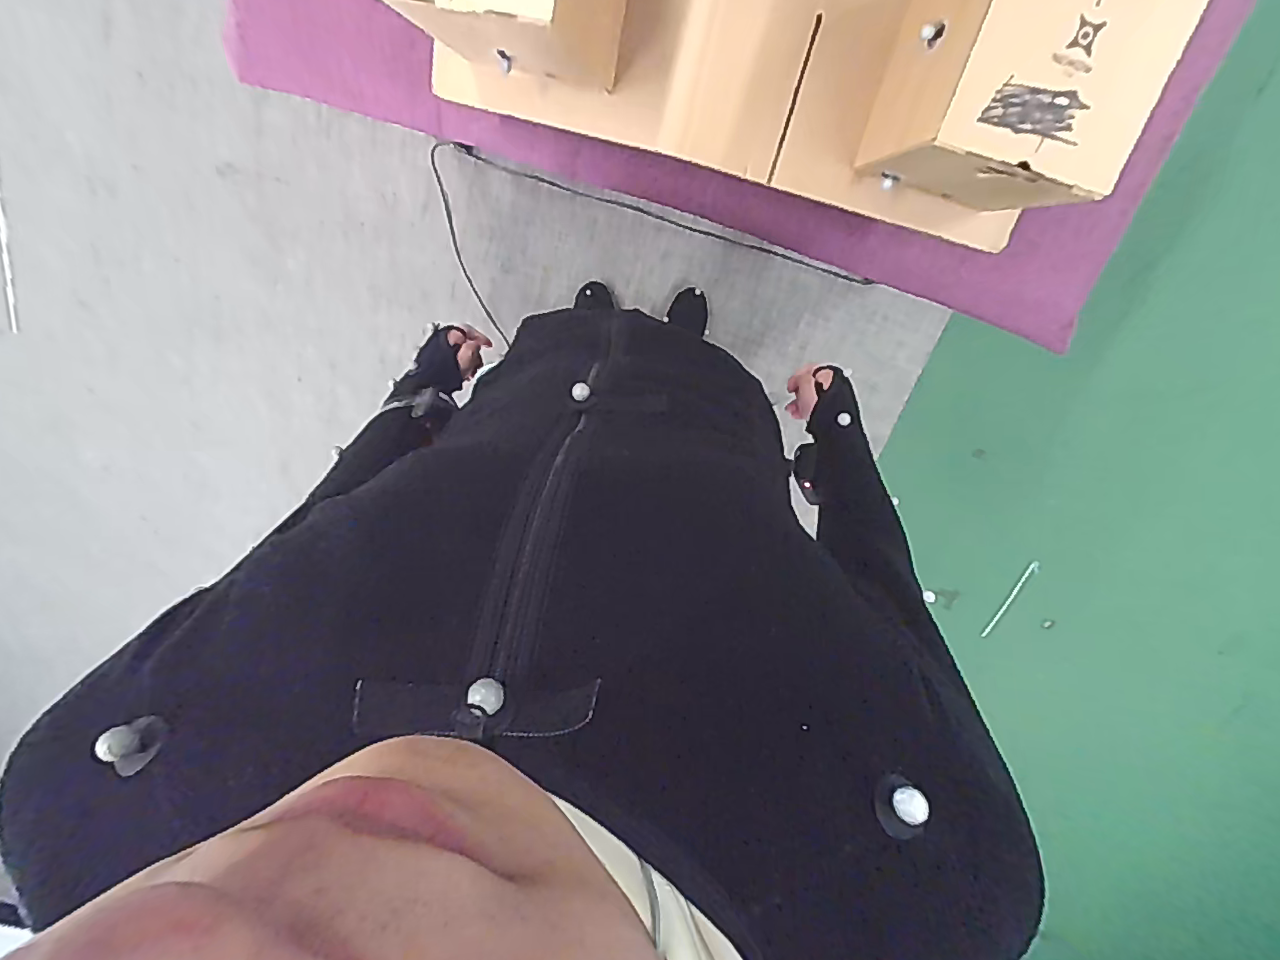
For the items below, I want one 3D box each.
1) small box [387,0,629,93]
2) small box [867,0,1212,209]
[{"bbox_3d":[-0.104,-0.479,0.474,0.168,0.176,0.179,16,114,7],"label":"small box"},{"bbox_3d":[0.336,-0.363,0.493,0.168,0.176,0.179,12,111,-8],"label":"small box"}]
